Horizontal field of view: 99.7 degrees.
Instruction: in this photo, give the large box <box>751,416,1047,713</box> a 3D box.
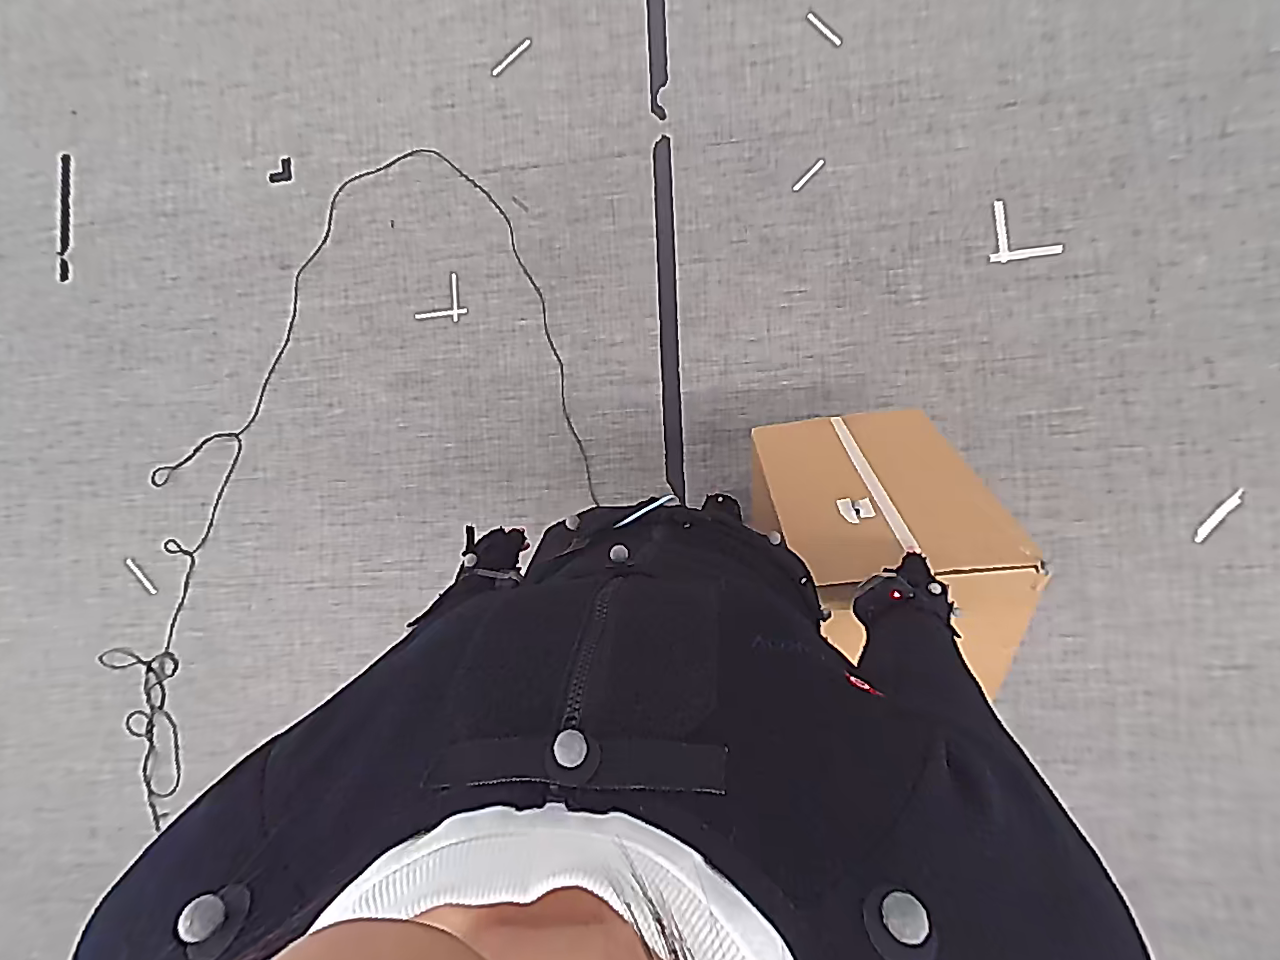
[{"bbox_3d":[0.382,0.132,0.943,0.320,0.408,0.320,-7,127,5],"label":"large box"}]
